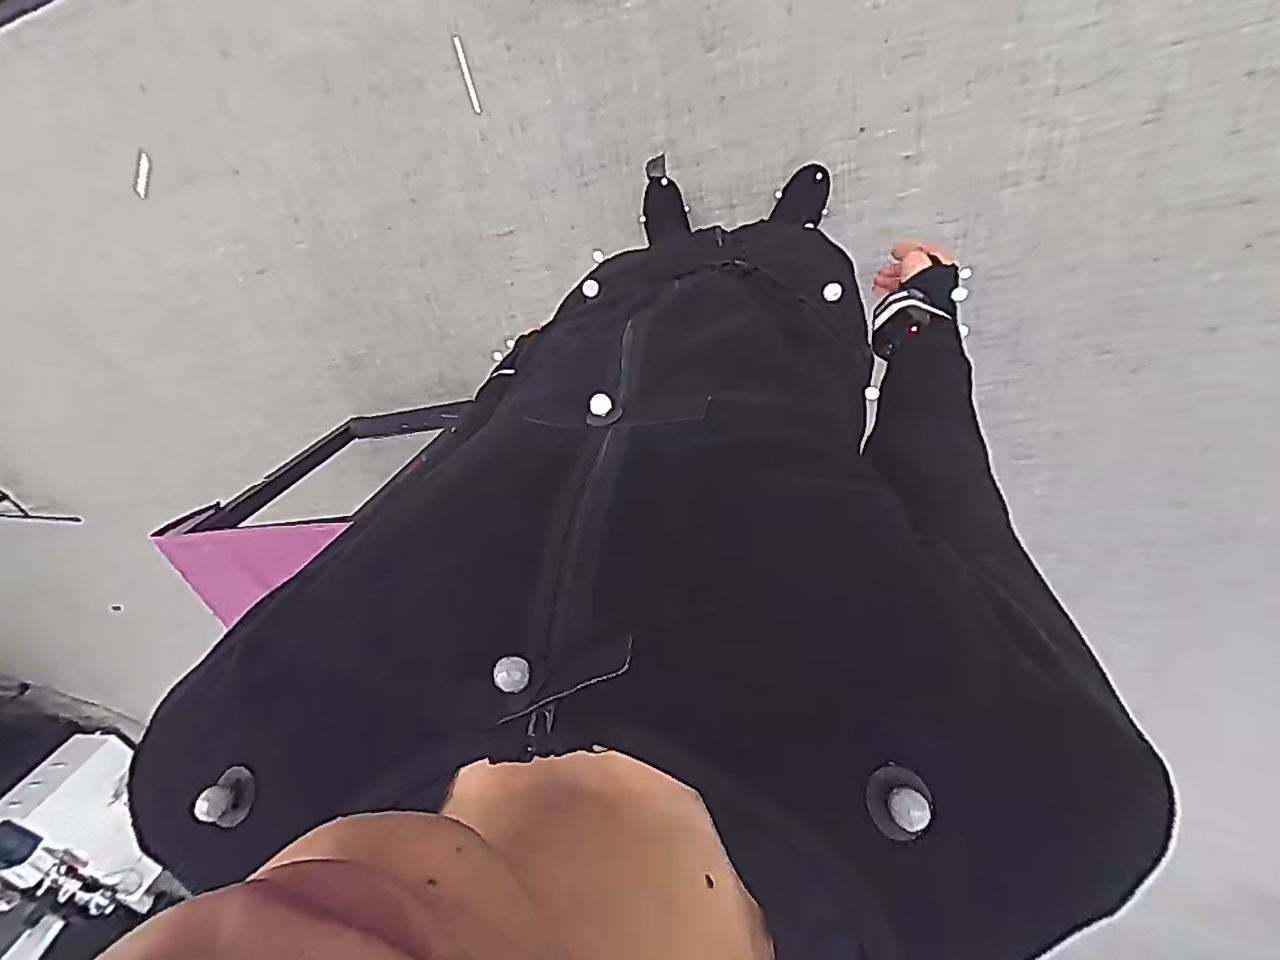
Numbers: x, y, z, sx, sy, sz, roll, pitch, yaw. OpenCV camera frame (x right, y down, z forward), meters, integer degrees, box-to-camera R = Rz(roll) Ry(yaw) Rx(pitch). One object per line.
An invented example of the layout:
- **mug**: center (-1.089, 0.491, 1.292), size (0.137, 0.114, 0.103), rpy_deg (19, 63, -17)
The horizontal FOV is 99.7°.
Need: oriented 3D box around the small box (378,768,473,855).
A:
- **small box**: center (-0.622, 0.978, 1.603), size (0.179, 0.176, 0.168), rpy_deg (-13, 118, 21)
